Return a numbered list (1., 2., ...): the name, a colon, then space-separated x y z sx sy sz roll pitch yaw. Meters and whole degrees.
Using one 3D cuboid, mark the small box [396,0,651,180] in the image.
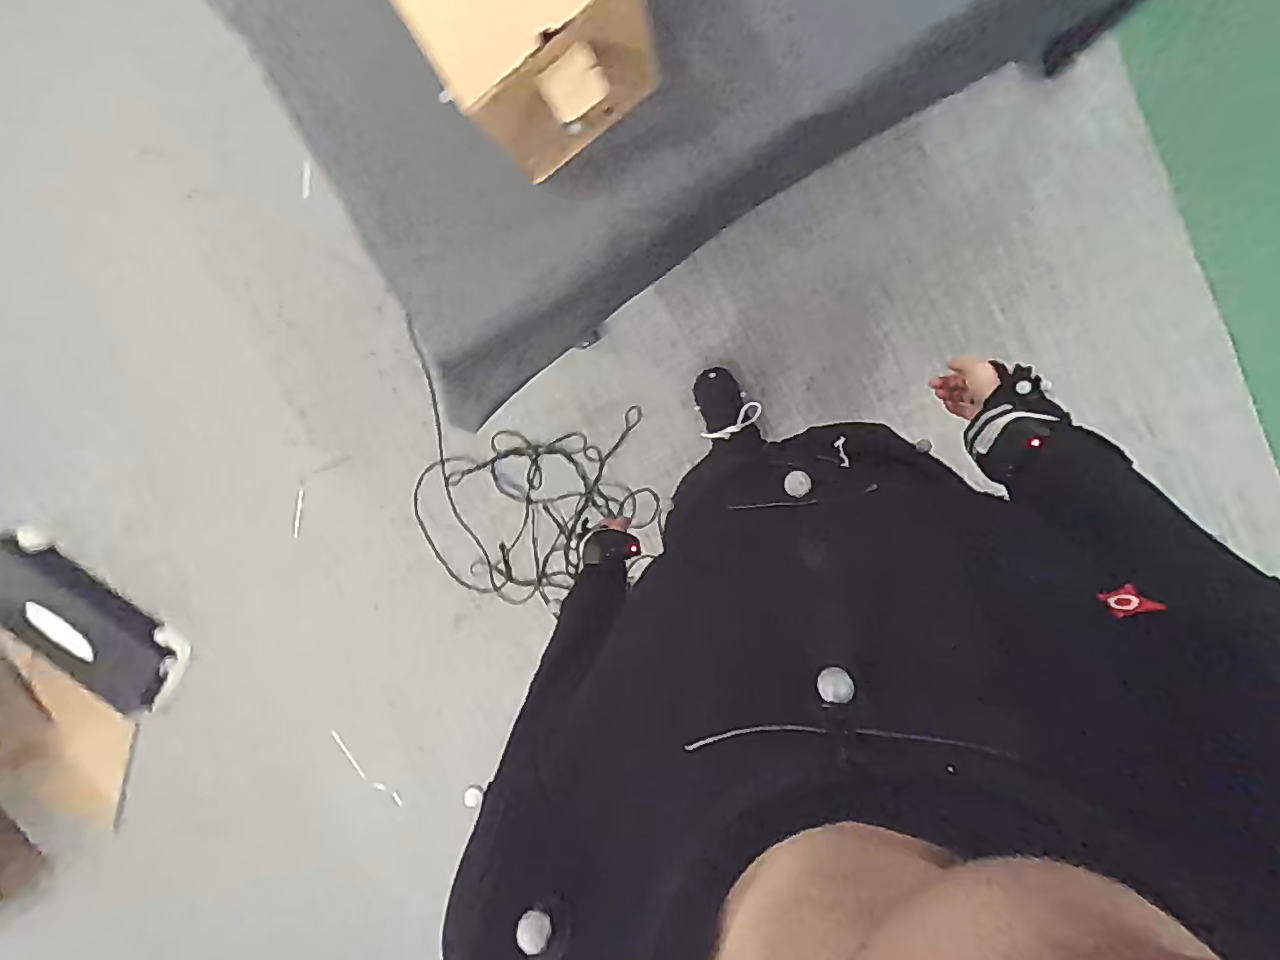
1. small box: -0.107 -0.418 0.488 0.168 0.176 0.179 -33 95 12
